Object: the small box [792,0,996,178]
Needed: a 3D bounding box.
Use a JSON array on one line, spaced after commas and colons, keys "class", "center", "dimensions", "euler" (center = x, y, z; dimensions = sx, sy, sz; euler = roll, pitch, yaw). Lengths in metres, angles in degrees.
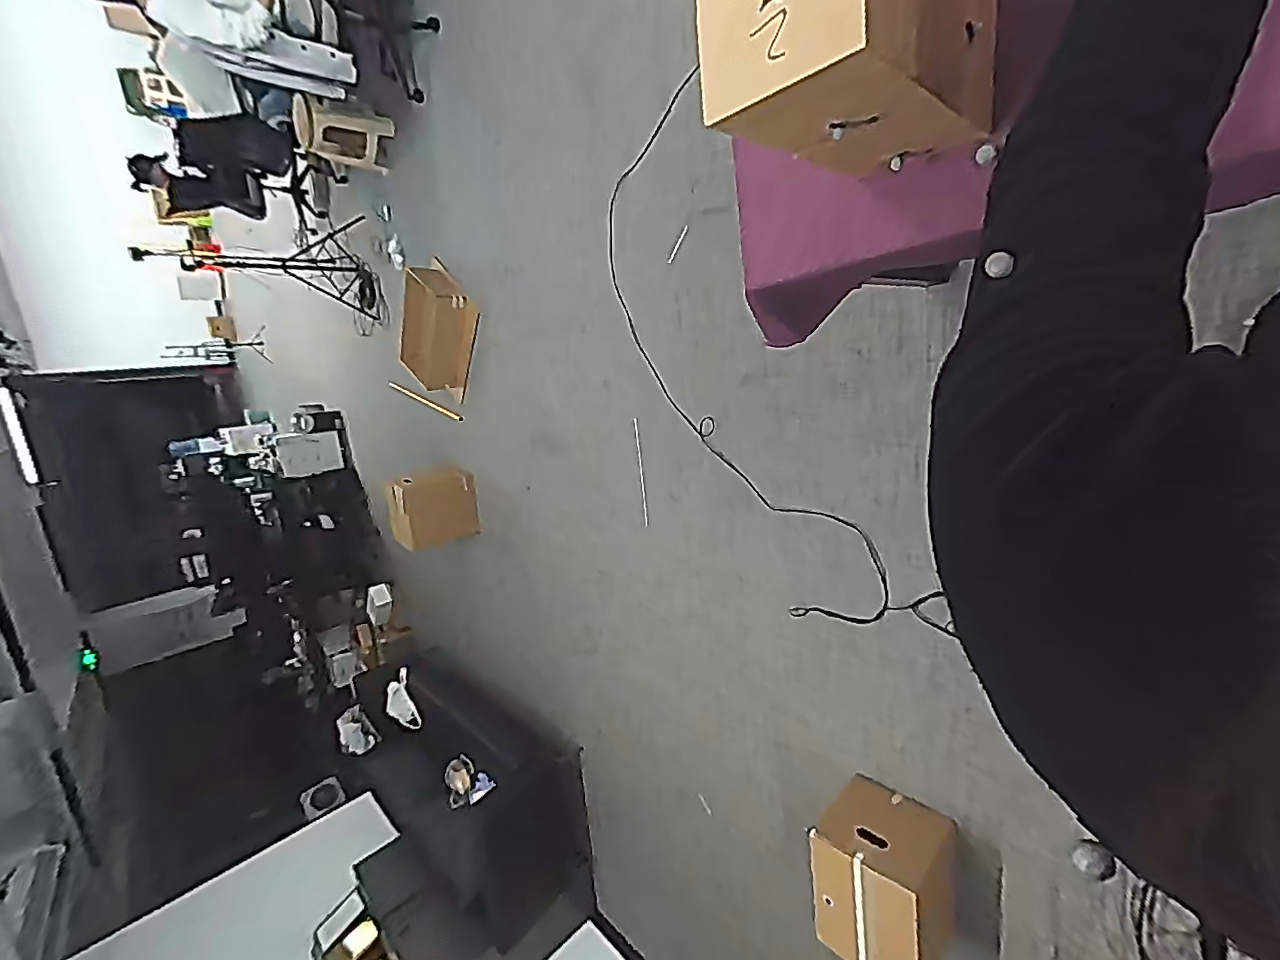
[{"class": "small box", "center": [0.293, -0.477, 0.624], "dimensions": [0.168, 0.176, 0.179], "euler": [7, 108, 46]}]
